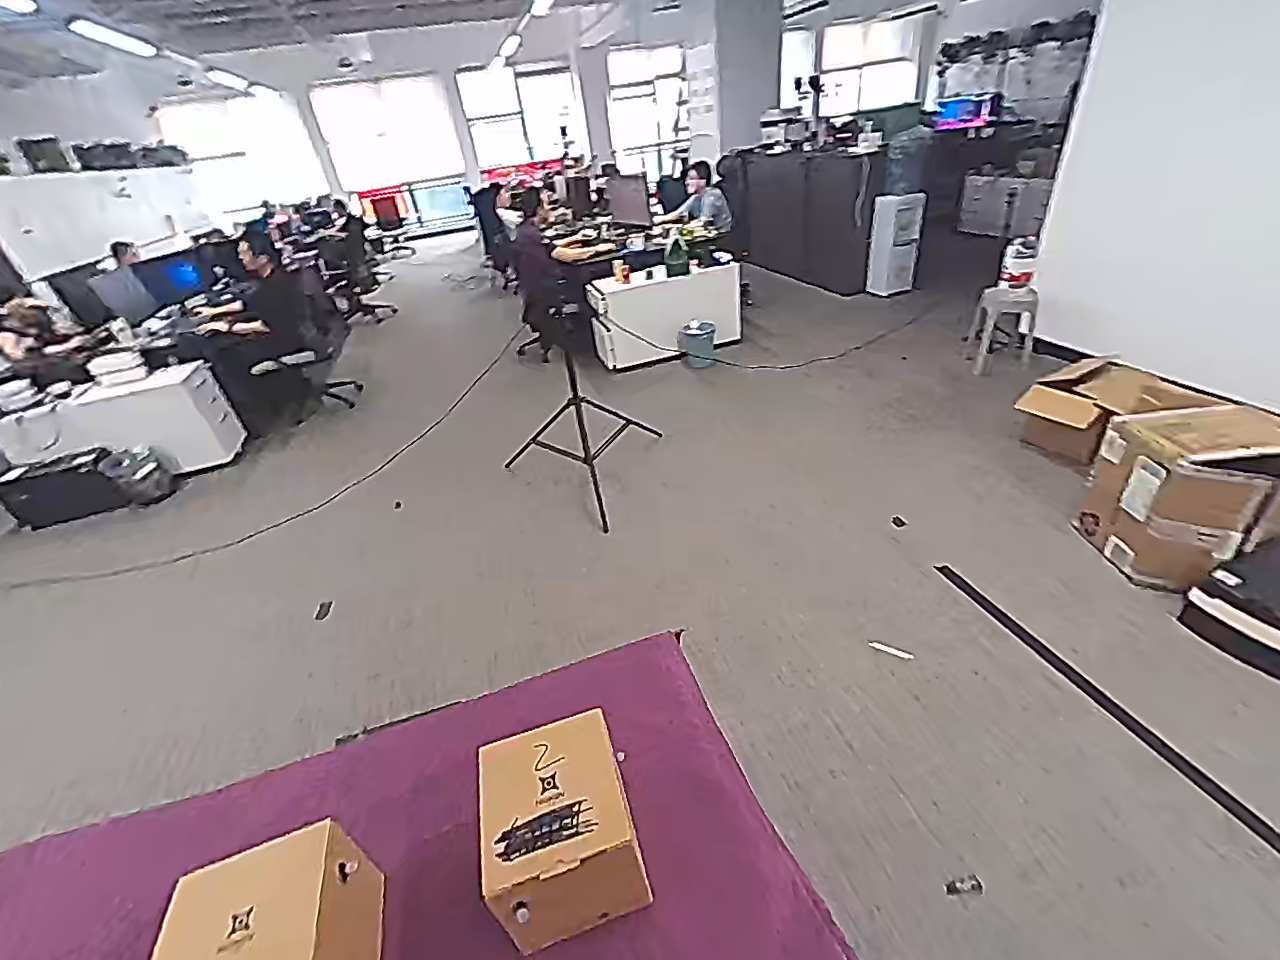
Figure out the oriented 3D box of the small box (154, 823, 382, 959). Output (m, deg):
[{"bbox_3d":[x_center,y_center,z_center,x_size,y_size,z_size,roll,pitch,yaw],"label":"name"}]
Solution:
[{"bbox_3d":[-0.405,0.538,0.603,0.168,0.176,0.179,-18,35,-12],"label":"small box"}]
